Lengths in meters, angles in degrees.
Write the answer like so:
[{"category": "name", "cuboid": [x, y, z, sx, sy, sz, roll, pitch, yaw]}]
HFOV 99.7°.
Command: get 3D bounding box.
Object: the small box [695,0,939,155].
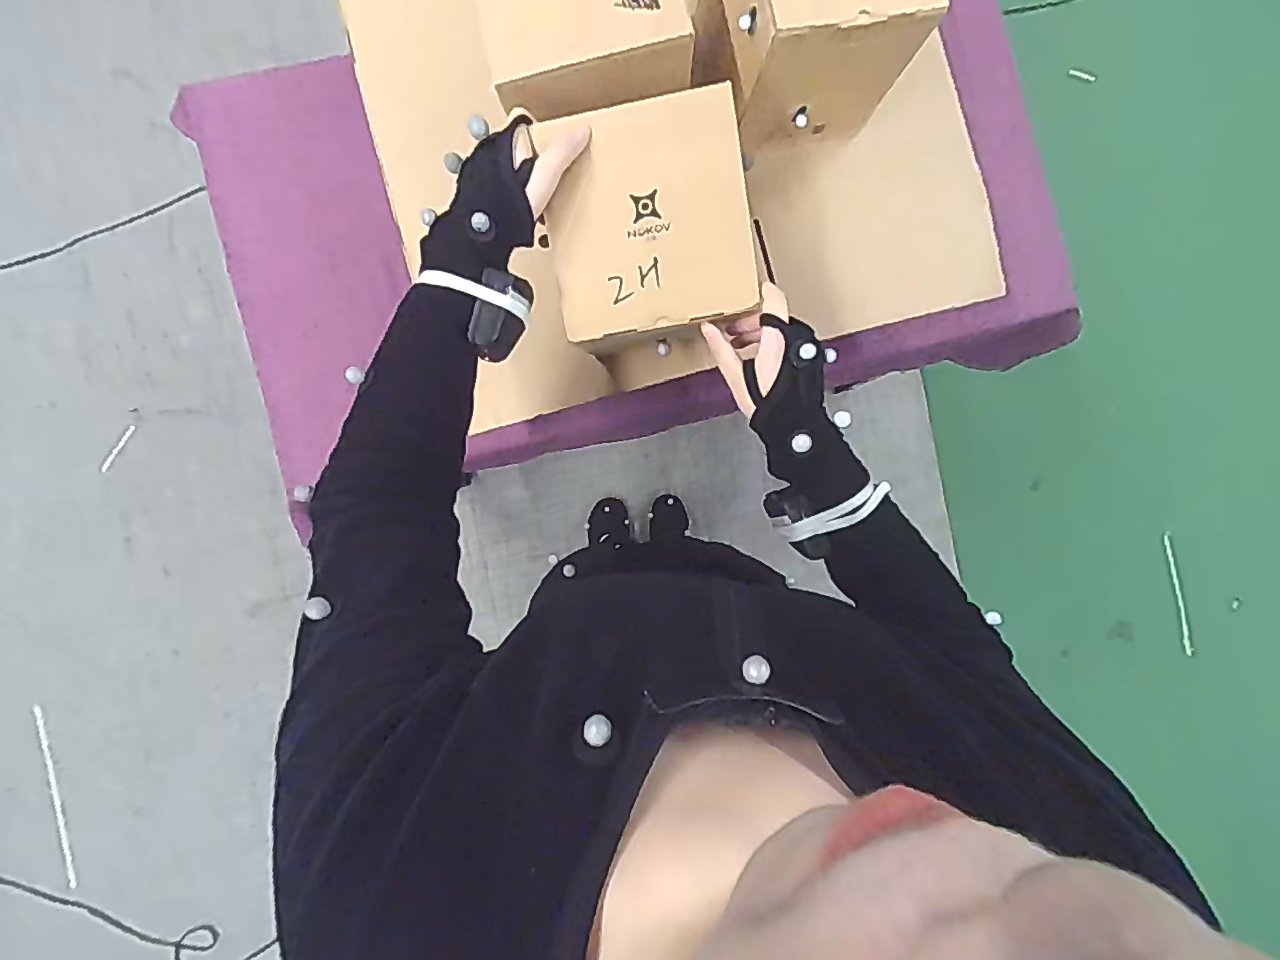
[{"category": "small box", "cuboid": [0.165, -0.480, 0.560, 0.168, 0.176, 0.179, -13, 90, -6]}]
